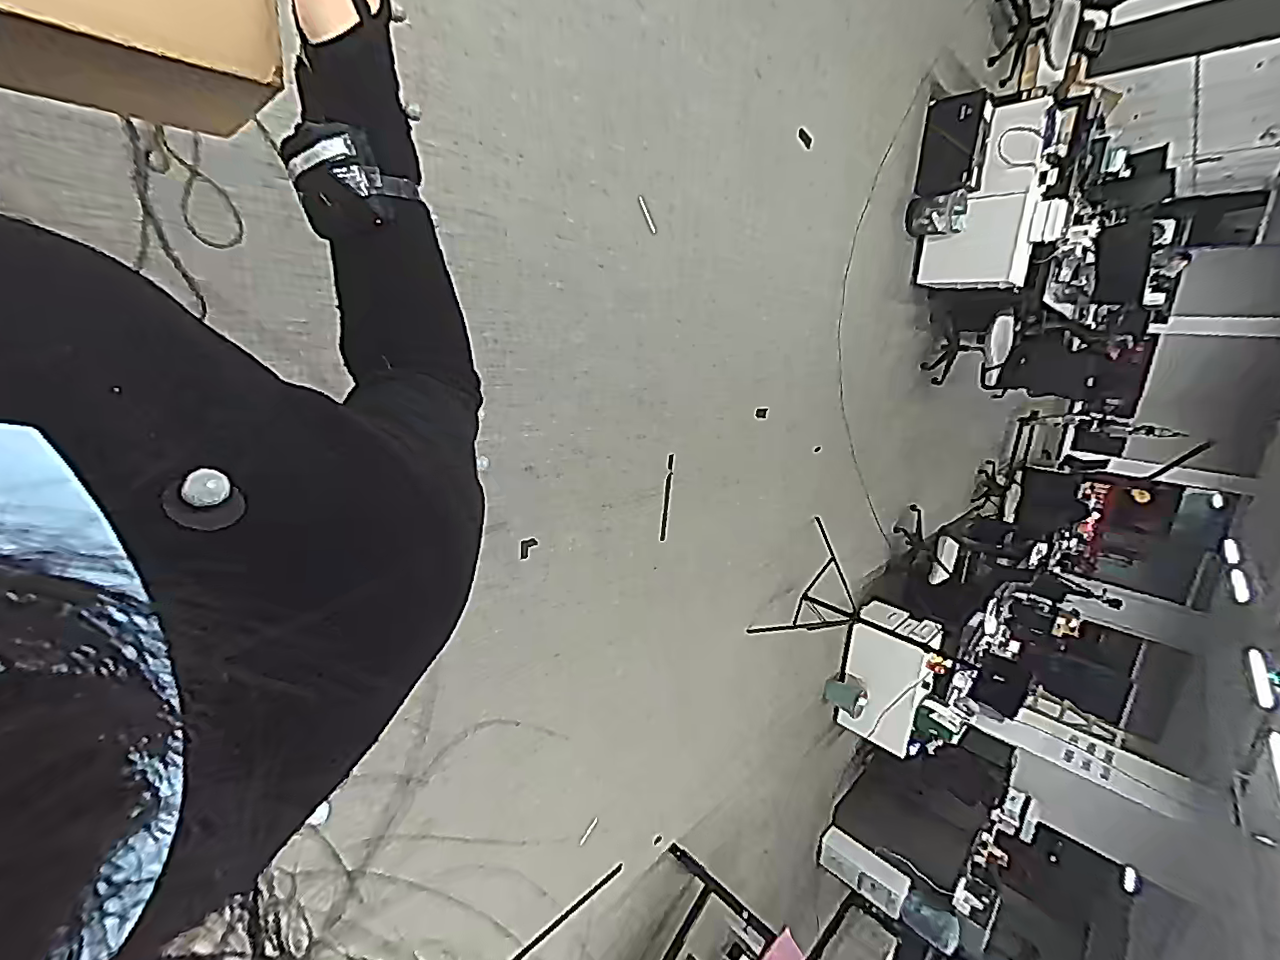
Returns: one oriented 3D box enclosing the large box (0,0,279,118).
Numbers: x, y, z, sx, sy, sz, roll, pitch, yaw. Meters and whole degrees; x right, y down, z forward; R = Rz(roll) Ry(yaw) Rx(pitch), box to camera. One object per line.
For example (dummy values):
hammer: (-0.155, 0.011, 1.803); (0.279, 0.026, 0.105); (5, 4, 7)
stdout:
large box: (-0.484, -0.452, 0.311); (0.408, 0.320, 0.320); (-10, 115, -39)
